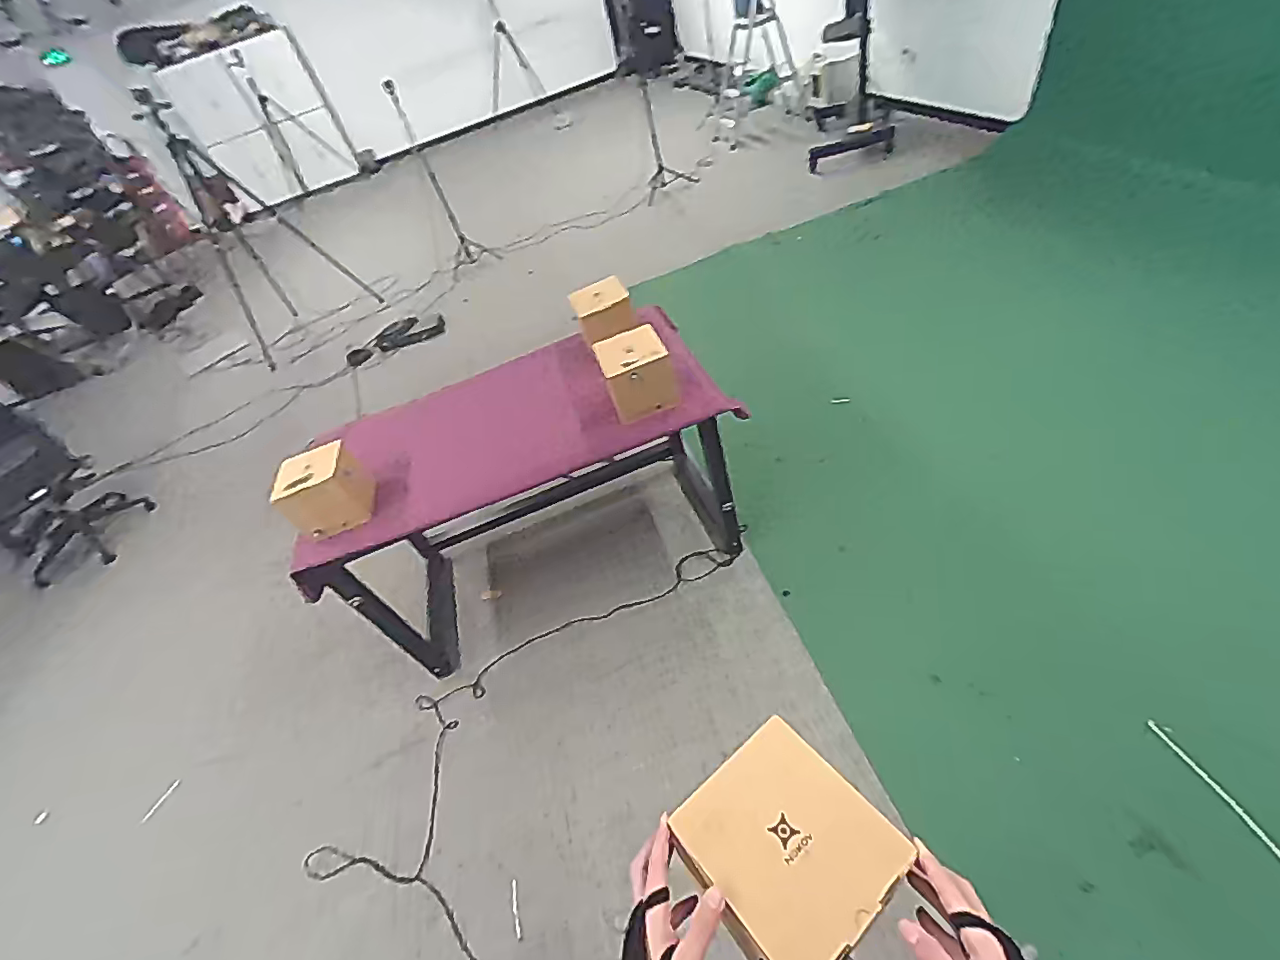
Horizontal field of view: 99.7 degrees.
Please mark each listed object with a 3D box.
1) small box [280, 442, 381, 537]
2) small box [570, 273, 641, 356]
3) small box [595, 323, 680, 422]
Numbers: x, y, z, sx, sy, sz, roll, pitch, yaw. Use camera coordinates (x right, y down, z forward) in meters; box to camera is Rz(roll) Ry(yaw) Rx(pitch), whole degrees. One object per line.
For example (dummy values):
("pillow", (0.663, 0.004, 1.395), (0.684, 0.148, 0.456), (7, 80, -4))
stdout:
("small box", (-0.830, 0.033, 1.470), (0.168, 0.176, 0.179), (-23, 43, -1))
("small box", (-0.103, -0.518, 1.715), (0.168, 0.176, 0.179), (-25, 46, 0))
("small box", (-0.005, -0.289, 1.462), (0.168, 0.176, 0.179), (-23, 45, 1))
